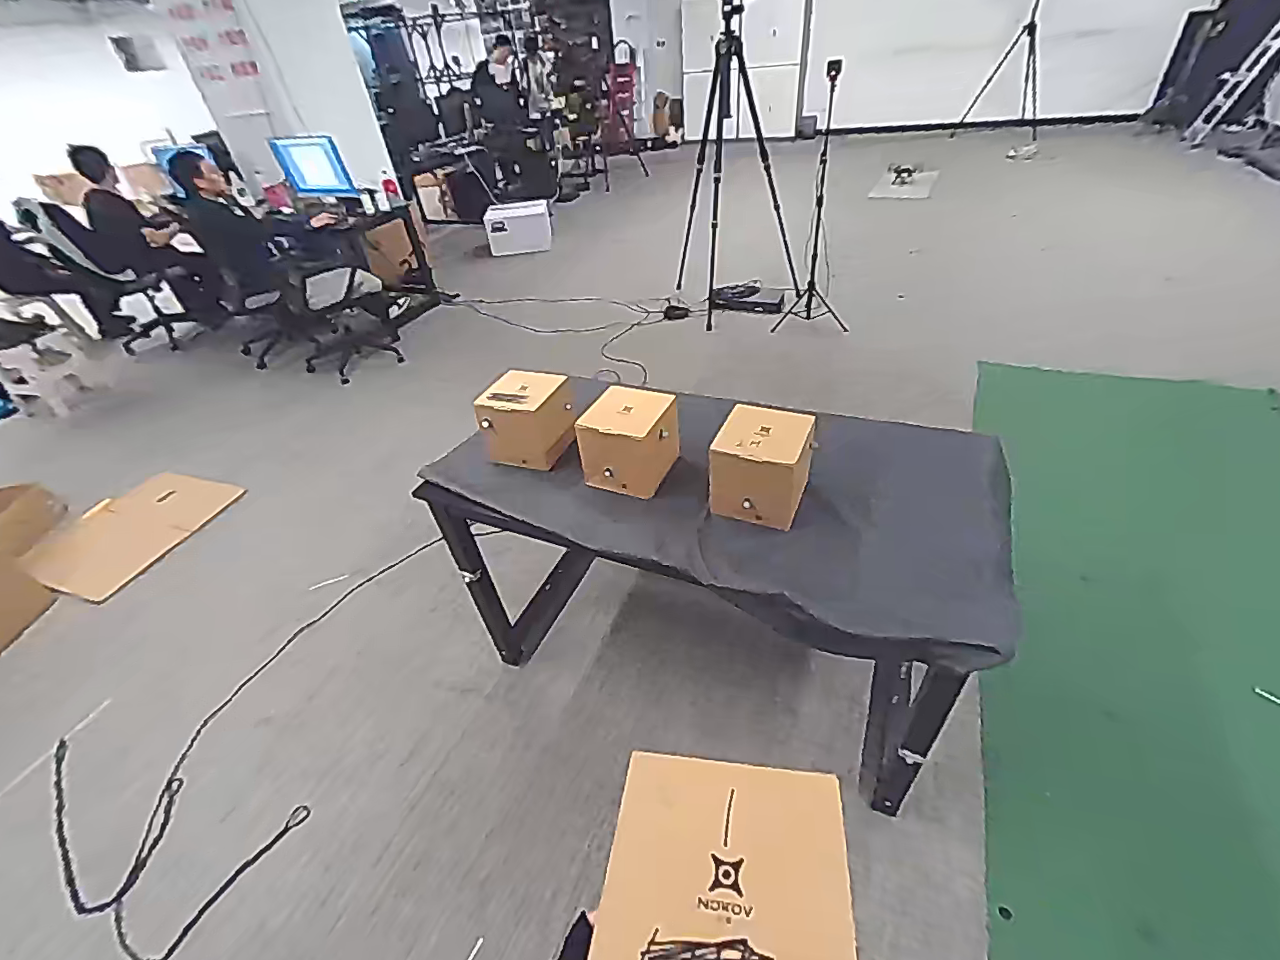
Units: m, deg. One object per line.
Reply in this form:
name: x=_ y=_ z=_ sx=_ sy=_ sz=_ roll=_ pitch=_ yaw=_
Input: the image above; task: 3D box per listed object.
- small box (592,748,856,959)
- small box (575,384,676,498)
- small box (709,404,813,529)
small box: x=0.069 y=0.341 z=0.412 sx=0.168 sy=0.176 sz=0.179 roll=1 pitch=35 yaw=13
small box: x=-0.025 y=-0.090 z=1.219 sx=0.168 sy=0.176 sz=0.179 roll=14 pitch=44 yaw=22
small box: x=0.245 y=-0.030 z=1.108 sx=0.168 sy=0.176 sz=0.179 roll=13 pitch=43 yaw=23
